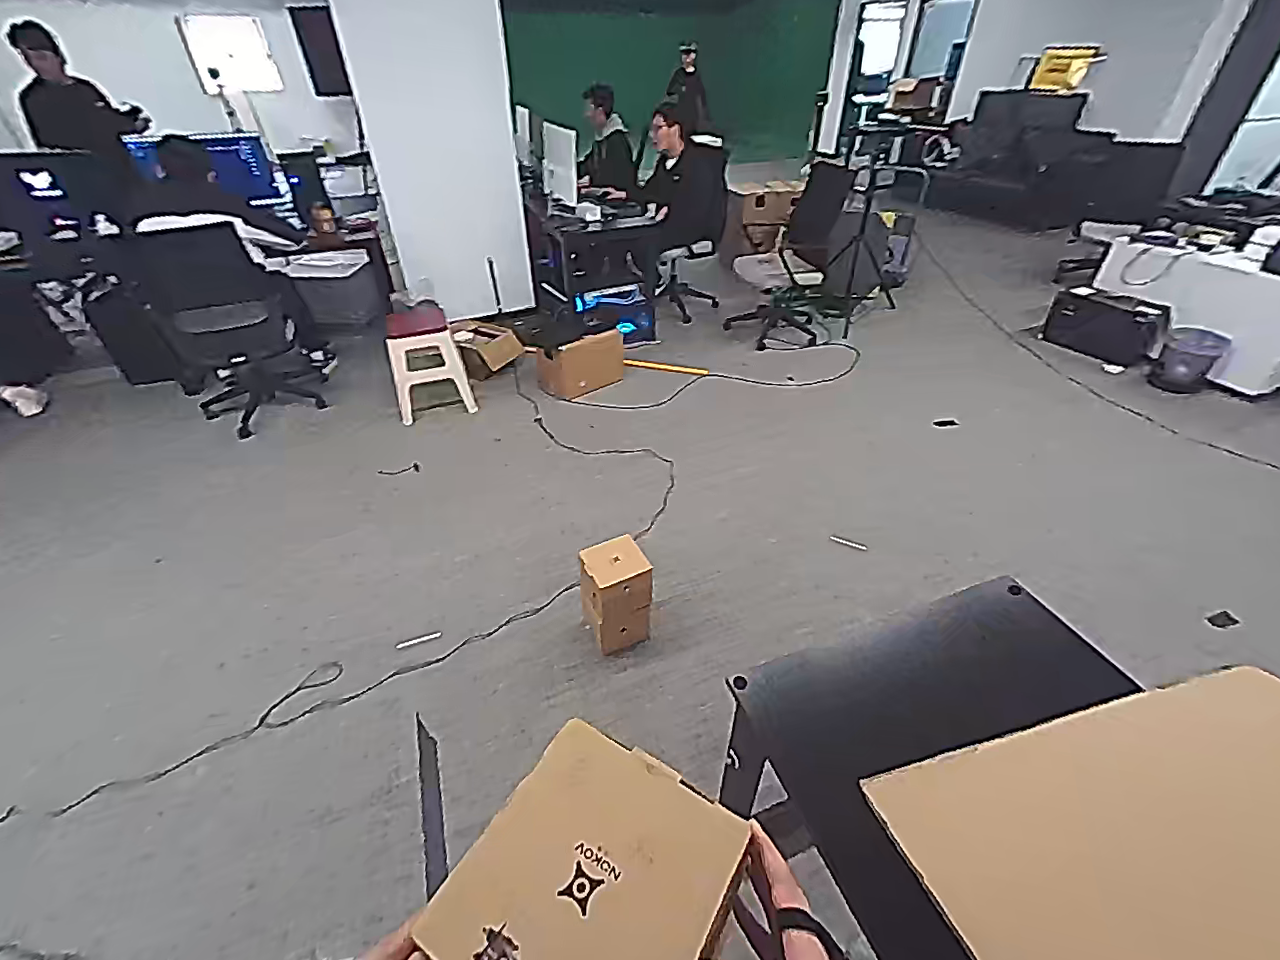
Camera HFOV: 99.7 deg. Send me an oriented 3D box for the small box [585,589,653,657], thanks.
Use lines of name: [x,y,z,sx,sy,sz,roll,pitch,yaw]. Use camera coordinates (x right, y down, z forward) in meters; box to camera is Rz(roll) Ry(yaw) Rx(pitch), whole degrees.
small box: [-0.070,0.445,1.772,0.179,0.176,0.168,-17,40,-18]

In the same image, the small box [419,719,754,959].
small box: [-0.029,0.333,0.412,0.168,0.176,0.179,17,39,28]

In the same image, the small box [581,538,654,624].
small box: [-0.067,0.315,1.675,0.179,0.176,0.168,-18,42,-22]
